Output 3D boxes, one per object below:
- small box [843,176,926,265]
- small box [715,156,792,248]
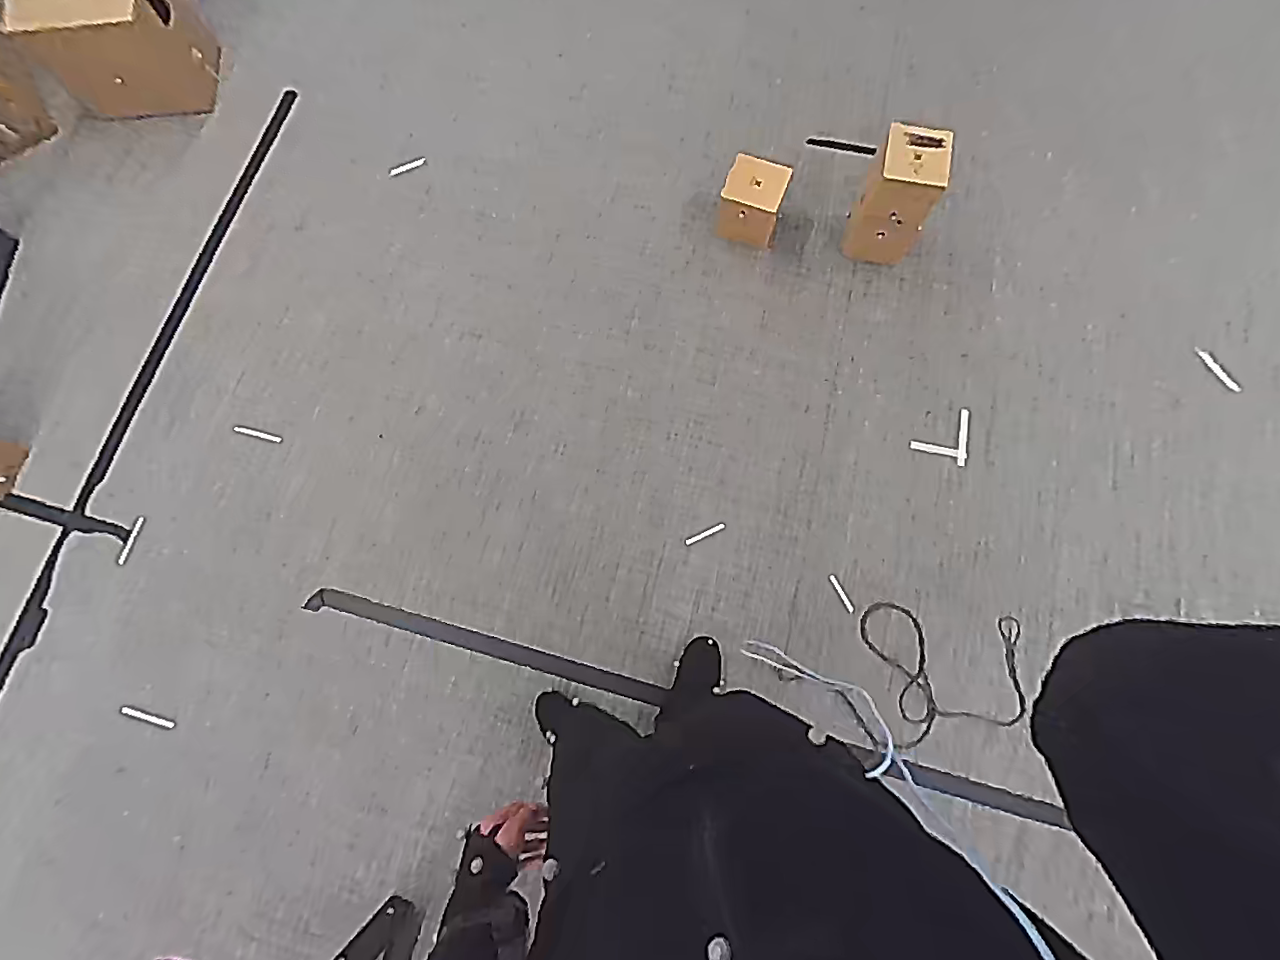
[{"bbox_3d":[0.735,-0.781,1.642,0.179,0.176,0.168,12,77,4],"label":"small box"},{"bbox_3d":[0.346,-0.852,1.673,0.179,0.176,0.168,21,78,8],"label":"small box"}]
